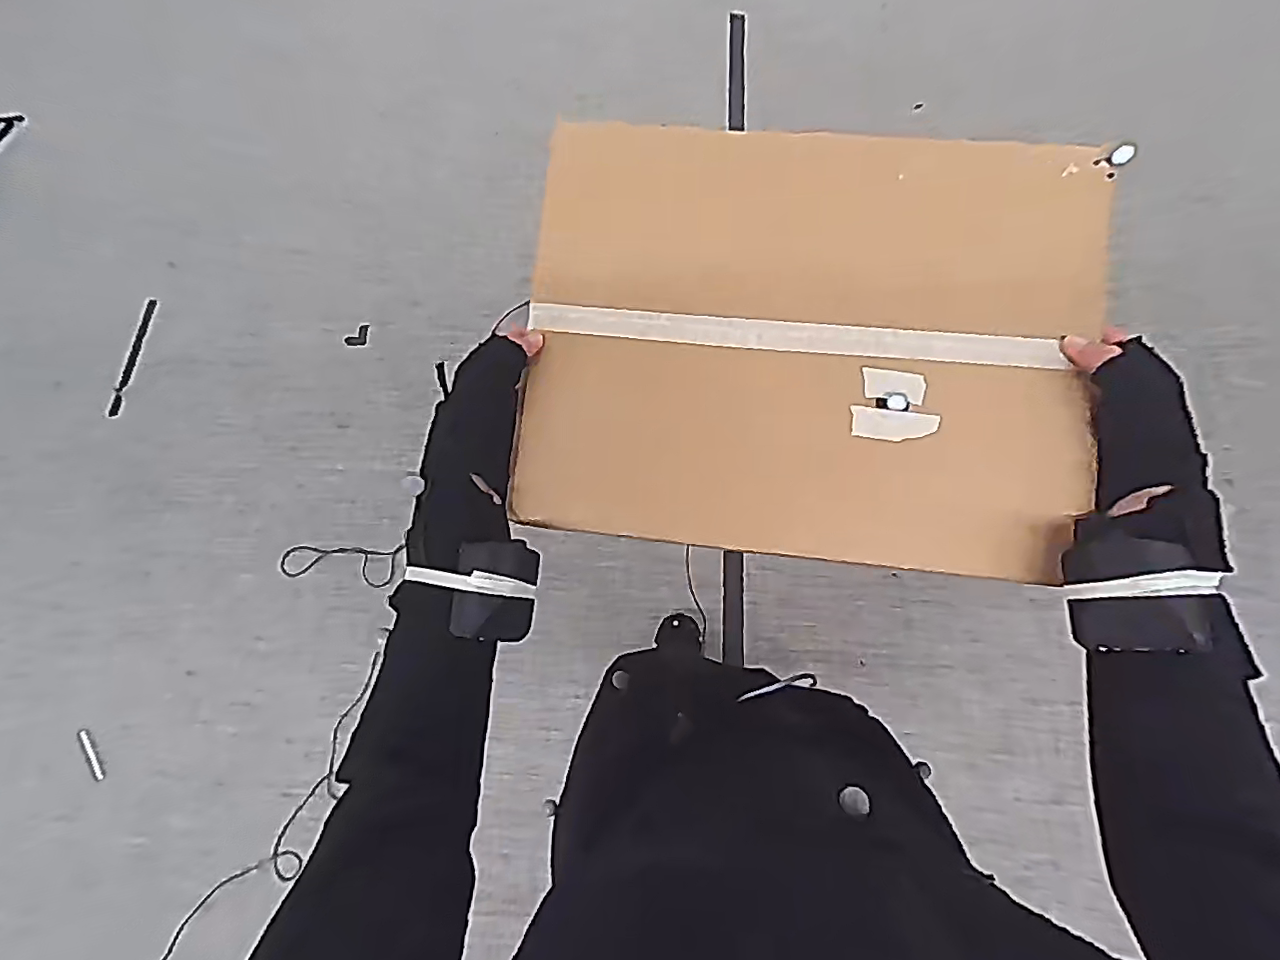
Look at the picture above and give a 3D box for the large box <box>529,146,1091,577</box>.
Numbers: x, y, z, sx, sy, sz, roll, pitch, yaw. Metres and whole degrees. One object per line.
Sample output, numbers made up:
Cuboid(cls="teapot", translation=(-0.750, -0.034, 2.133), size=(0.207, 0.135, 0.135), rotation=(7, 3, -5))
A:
Cuboid(cls="large box", translation=(0.133, -0.087, 0.554), size=(0.408, 0.320, 0.320), rotation=(6, 87, 4))
